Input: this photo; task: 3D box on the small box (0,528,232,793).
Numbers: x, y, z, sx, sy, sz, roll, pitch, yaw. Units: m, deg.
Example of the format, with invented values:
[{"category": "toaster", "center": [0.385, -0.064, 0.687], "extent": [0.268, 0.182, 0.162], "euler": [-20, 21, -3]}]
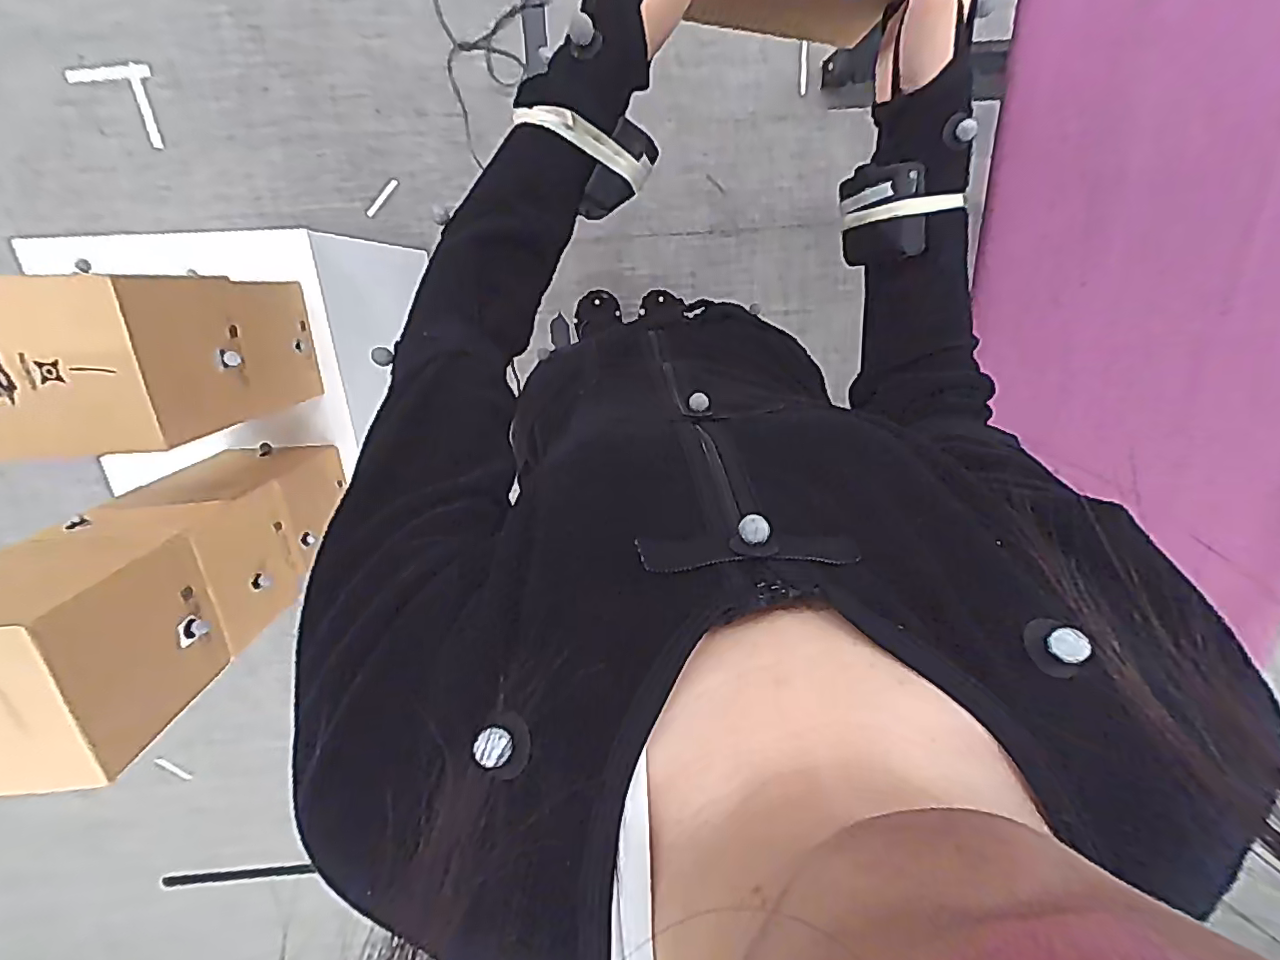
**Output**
[{"category": "small box", "center": [-0.538, 0.156, 0.500], "extent": [0.179, 0.176, 0.168], "euler": [-5, 111, -2]}]

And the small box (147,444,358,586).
[{"category": "small box", "center": [-0.557, 0.047, 0.806], "extent": [0.179, 0.176, 0.168], "euler": [-3, 110, -2]}]

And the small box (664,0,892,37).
[{"category": "small box", "center": [0.113, -0.428, 0.354], "extent": [0.179, 0.176, 0.168], "euler": [7, 111, -3]}]

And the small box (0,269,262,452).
[{"category": "small box", "center": [-0.548, -0.131, 0.566], "extent": [0.179, 0.176, 0.168], "euler": [-2, 111, -4]}]

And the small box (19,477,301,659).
[{"category": "small box", "center": [-0.546, 0.102, 0.653], "extent": [0.179, 0.176, 0.168], "euler": [-4, 110, -2]}]
